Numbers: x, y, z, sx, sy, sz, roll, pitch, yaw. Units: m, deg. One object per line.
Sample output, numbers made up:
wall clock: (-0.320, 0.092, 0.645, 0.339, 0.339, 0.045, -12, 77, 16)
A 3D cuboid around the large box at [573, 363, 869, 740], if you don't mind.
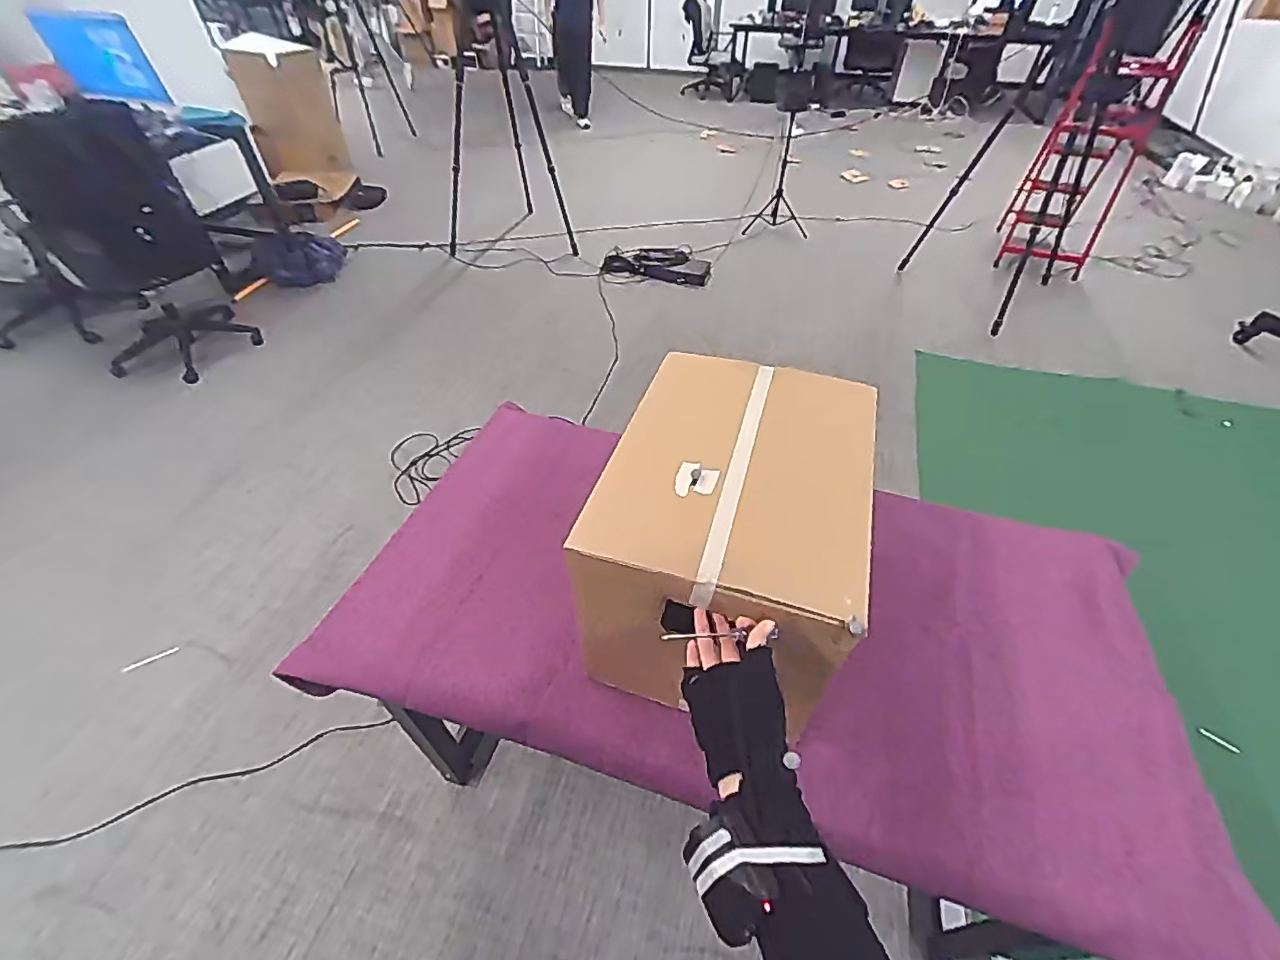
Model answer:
large box: (0.126, 0.088, 0.795, 0.320, 0.320, 0.408, 13, 47, 13)
